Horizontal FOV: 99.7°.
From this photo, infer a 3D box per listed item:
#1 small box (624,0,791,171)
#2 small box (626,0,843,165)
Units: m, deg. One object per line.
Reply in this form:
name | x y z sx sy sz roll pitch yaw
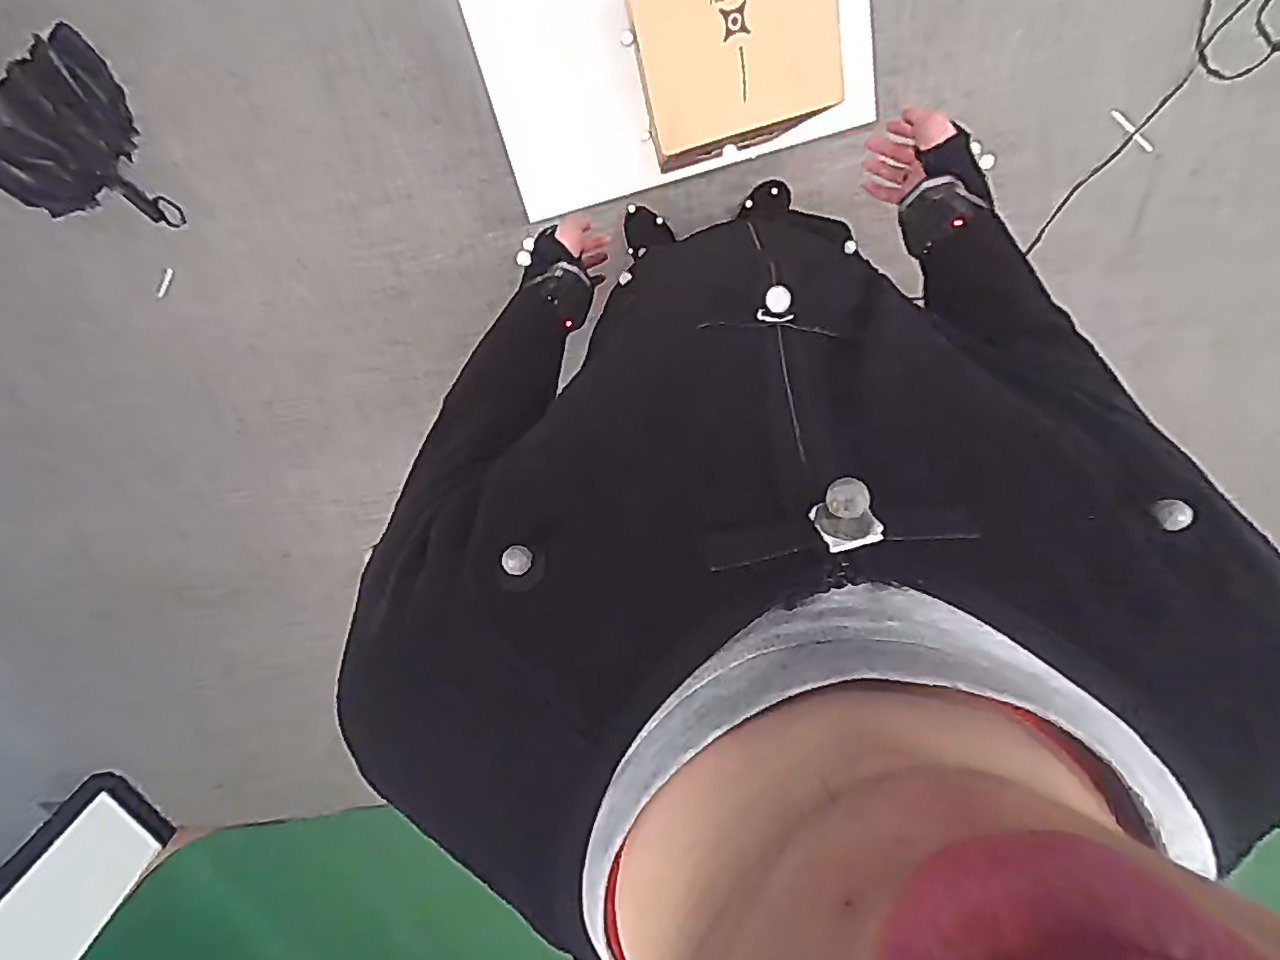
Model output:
small box | 0.084 -0.495 0.662 0.168 0.176 0.179 -13 115 8
small box | 0.080 -0.422 0.515 0.168 0.176 0.179 -12 117 8
